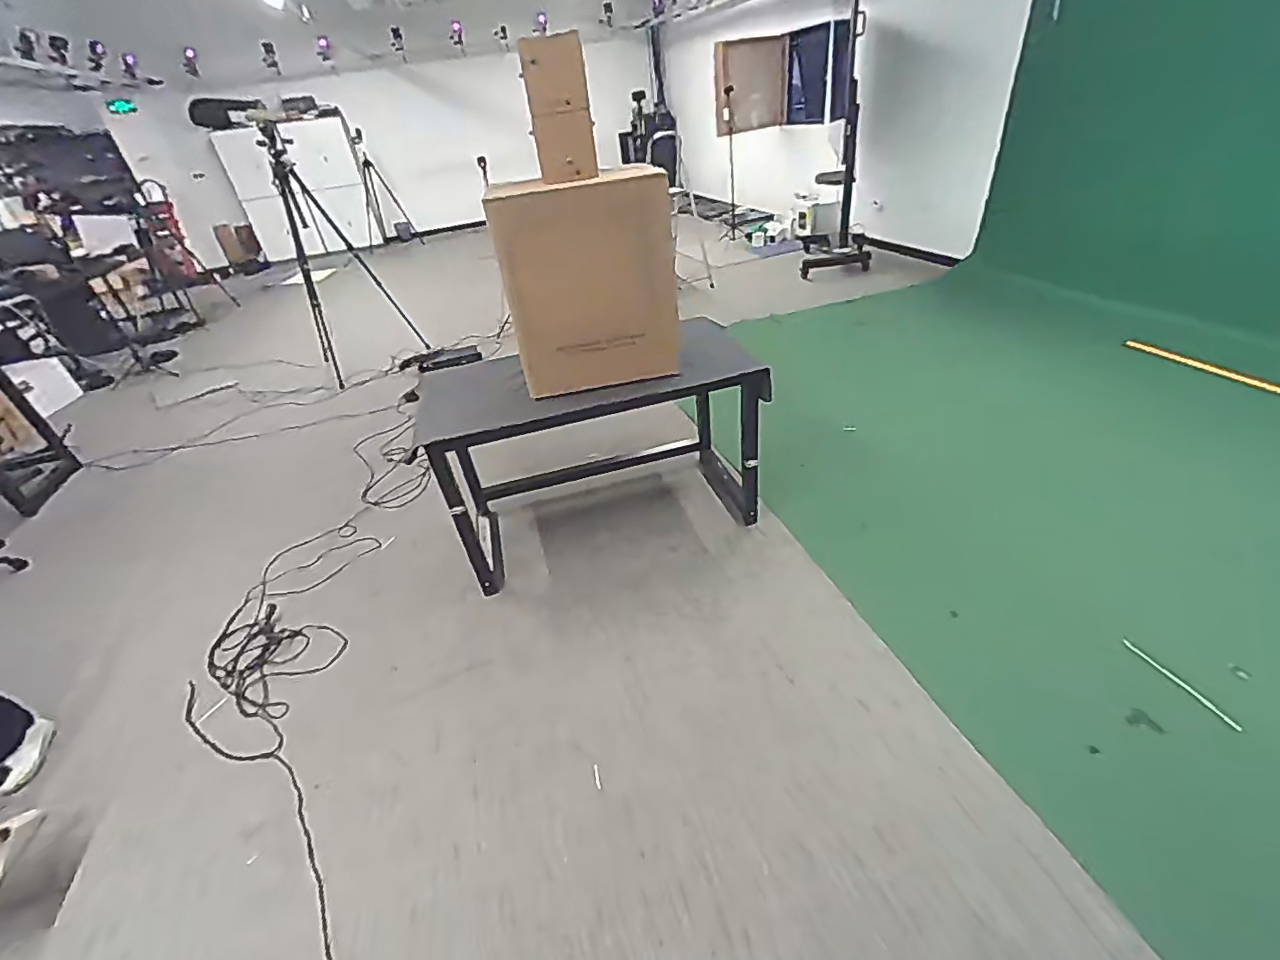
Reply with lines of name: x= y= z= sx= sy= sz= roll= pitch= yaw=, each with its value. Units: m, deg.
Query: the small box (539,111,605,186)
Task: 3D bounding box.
small box: x=-0.201 y=-0.976 z=1.592 sx=0.168 sy=0.176 sz=0.179 roll=-10 pitch=37 yaw=-4
